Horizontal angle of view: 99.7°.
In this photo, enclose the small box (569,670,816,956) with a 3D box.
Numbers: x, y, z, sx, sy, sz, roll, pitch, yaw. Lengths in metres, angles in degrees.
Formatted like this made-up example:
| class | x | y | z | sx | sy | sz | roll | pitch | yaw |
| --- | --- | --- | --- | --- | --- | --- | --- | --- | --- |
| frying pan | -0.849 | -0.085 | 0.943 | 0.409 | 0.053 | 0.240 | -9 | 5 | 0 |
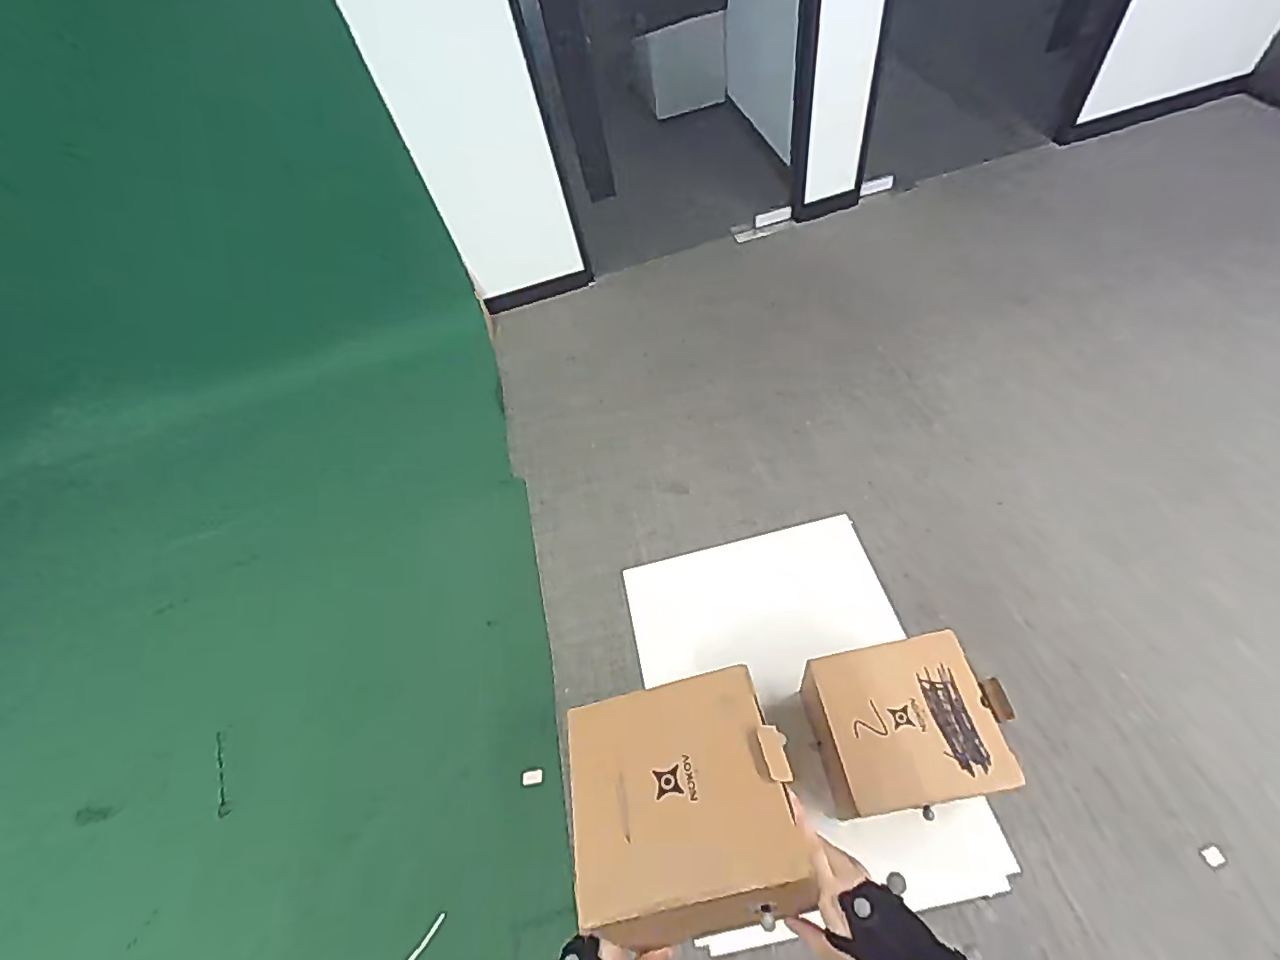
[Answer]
| class | x | y | z | sx | sy | sz | roll | pitch | yaw |
| --- | --- | --- | --- | --- | --- | --- | --- | --- | --- |
| small box | 0.048 | 0.306 | 0.494 | 0.179 | 0.176 | 0.168 | -17 | 42 | 4 |
